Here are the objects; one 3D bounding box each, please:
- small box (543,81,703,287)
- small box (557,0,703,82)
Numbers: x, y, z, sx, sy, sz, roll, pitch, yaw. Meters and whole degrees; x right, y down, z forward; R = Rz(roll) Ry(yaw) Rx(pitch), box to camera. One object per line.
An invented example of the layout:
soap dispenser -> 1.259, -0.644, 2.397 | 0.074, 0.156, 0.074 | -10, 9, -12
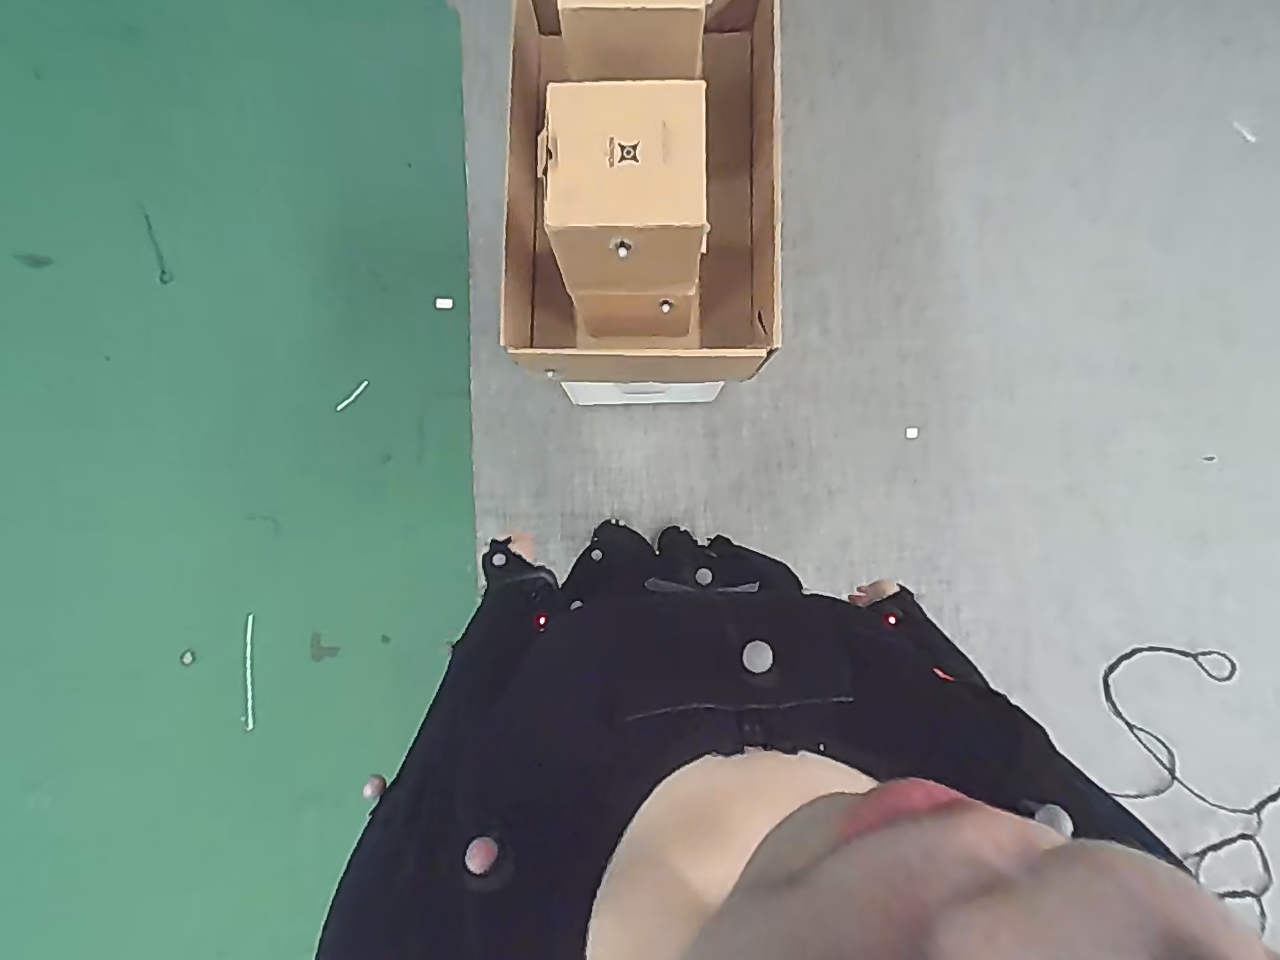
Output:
small box -> -0.017, -0.350, 0.668 | 0.179, 0.176, 0.168 | 0, 86, 0
small box -> -0.009, -0.604, 0.681 | 0.168, 0.176, 0.179 | 2, 89, 0
